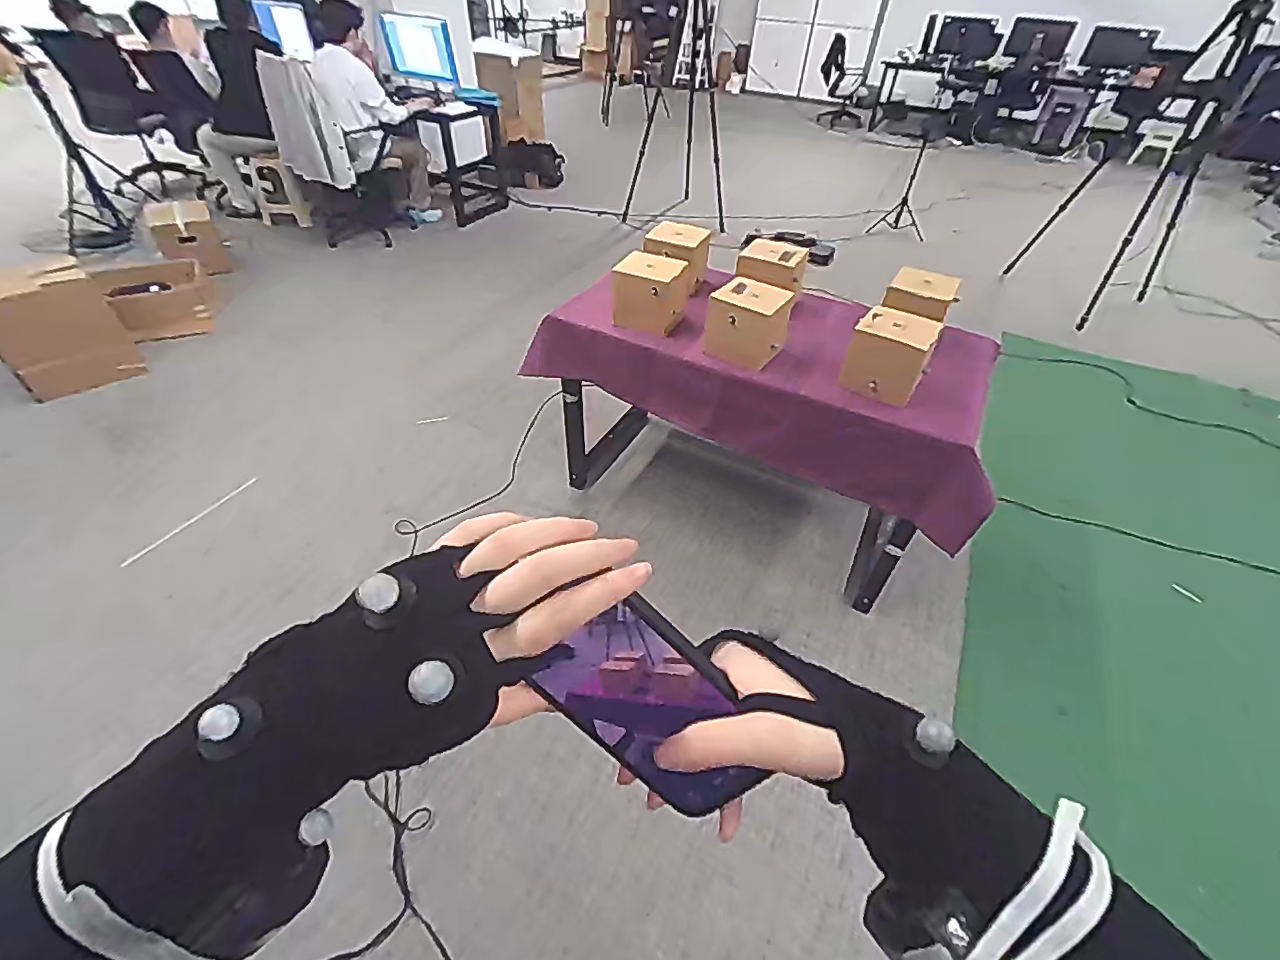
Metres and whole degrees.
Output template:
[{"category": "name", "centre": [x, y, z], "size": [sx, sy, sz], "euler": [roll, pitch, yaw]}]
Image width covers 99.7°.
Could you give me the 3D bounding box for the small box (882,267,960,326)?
[{"category": "small box", "centre": [0.802, -0.494, 1.580], "size": [0.168, 0.176, 0.179], "euler": [25, 48, 22]}]

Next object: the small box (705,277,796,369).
[{"category": "small box", "centre": [0.296, -0.429, 1.483], "size": [0.179, 0.176, 0.168], "euler": [28, 49, 22]}]

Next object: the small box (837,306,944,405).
[{"category": "small box", "centre": [0.635, -0.314, 1.384], "size": [0.179, 0.176, 0.168], "euler": [28, 49, 23]}]

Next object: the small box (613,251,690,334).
[{"category": "small box", "centre": [0.030, -0.551, 1.595], "size": [0.179, 0.176, 0.168], "euler": [19, 45, 14]}]
